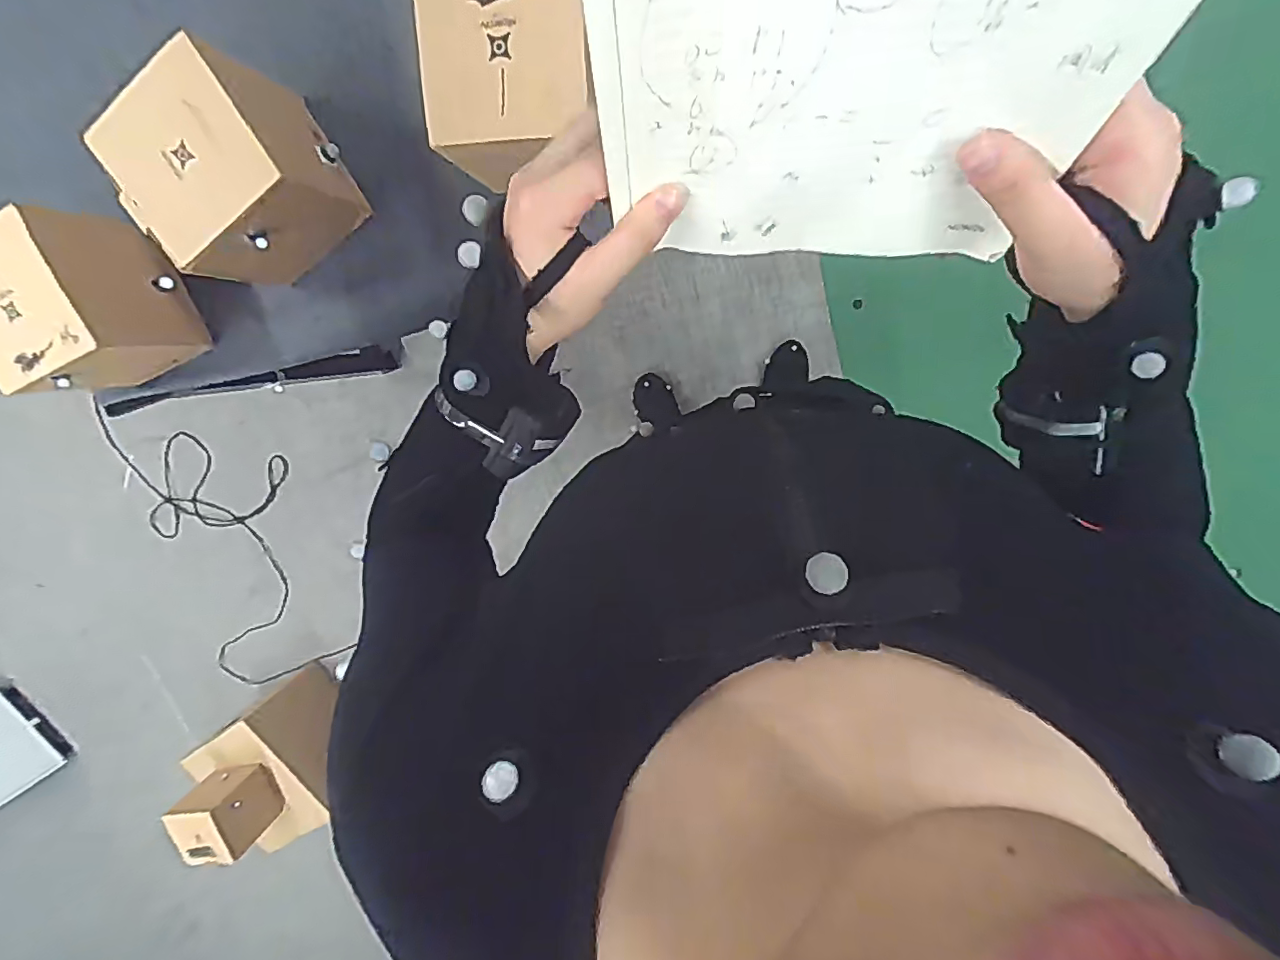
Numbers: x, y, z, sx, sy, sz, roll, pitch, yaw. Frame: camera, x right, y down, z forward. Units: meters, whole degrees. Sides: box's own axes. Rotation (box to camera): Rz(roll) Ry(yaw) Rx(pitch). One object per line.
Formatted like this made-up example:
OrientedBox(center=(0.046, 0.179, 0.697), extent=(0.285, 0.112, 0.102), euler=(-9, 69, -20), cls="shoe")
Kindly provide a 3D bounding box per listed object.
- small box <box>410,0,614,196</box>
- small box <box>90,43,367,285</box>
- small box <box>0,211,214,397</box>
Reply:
OrientedBox(center=(-0.125, -0.430, 0.588), extent=(0.168, 0.176, 0.179), euler=(1, 104, 9), cls="small box")
OrientedBox(center=(-0.483, -0.360, 0.663), extent=(0.179, 0.176, 0.168), euler=(-31, 98, 13), cls="small box")
OrientedBox(center=(-0.746, -0.226, 0.733), extent=(0.168, 0.176, 0.179), euler=(-20, 101, 12), cls="small box")
